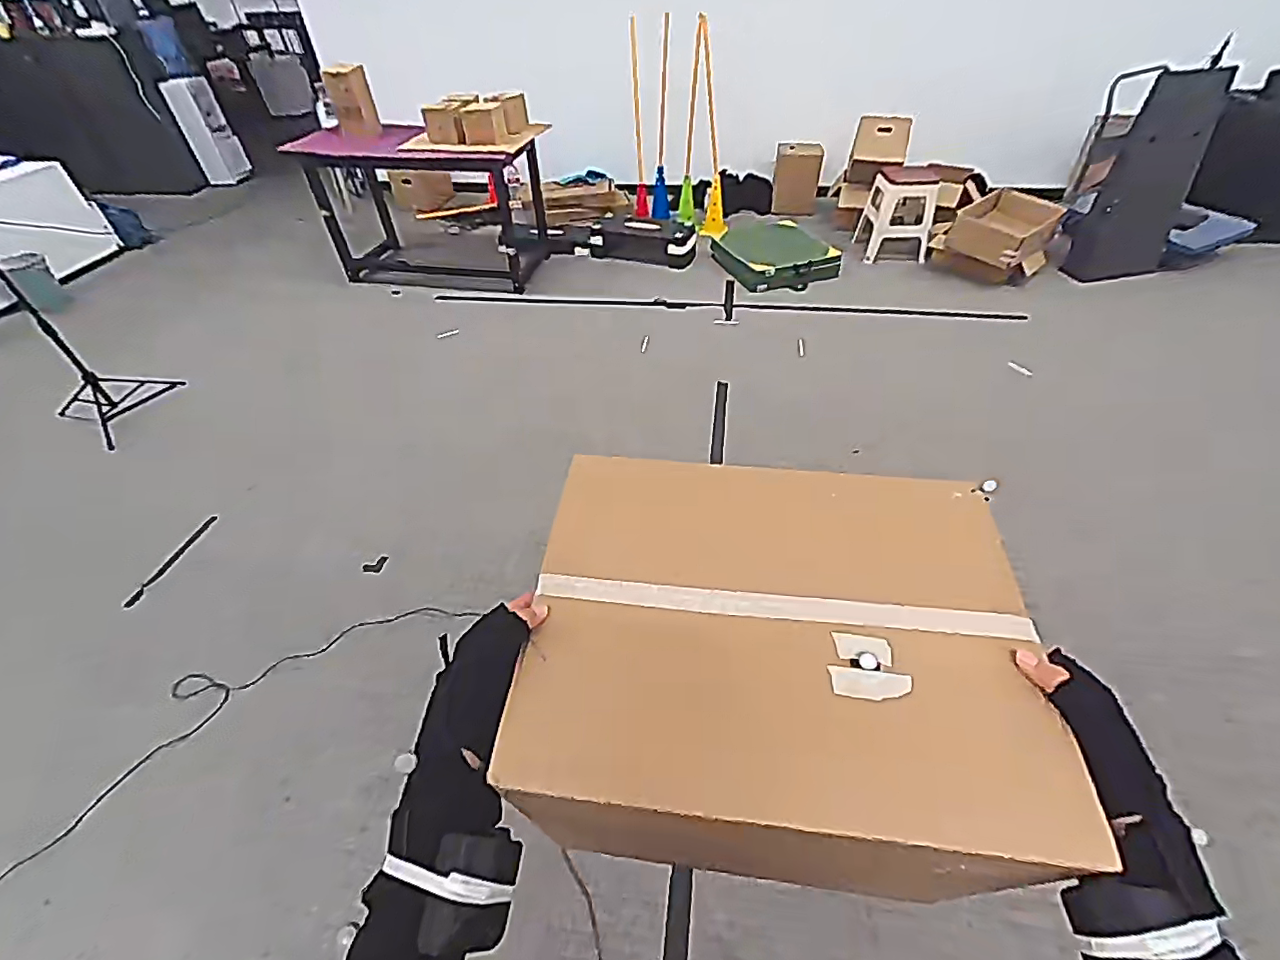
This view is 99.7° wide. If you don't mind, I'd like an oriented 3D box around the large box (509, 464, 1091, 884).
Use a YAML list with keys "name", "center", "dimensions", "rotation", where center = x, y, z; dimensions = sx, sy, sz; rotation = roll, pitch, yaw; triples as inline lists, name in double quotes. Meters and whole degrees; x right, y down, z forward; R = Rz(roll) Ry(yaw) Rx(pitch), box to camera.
- name: "large box"
  center: [0.119, 0.206, 0.577]
  dimensions: [0.408, 0.320, 0.320]
  rotation: [4, 51, 6]
